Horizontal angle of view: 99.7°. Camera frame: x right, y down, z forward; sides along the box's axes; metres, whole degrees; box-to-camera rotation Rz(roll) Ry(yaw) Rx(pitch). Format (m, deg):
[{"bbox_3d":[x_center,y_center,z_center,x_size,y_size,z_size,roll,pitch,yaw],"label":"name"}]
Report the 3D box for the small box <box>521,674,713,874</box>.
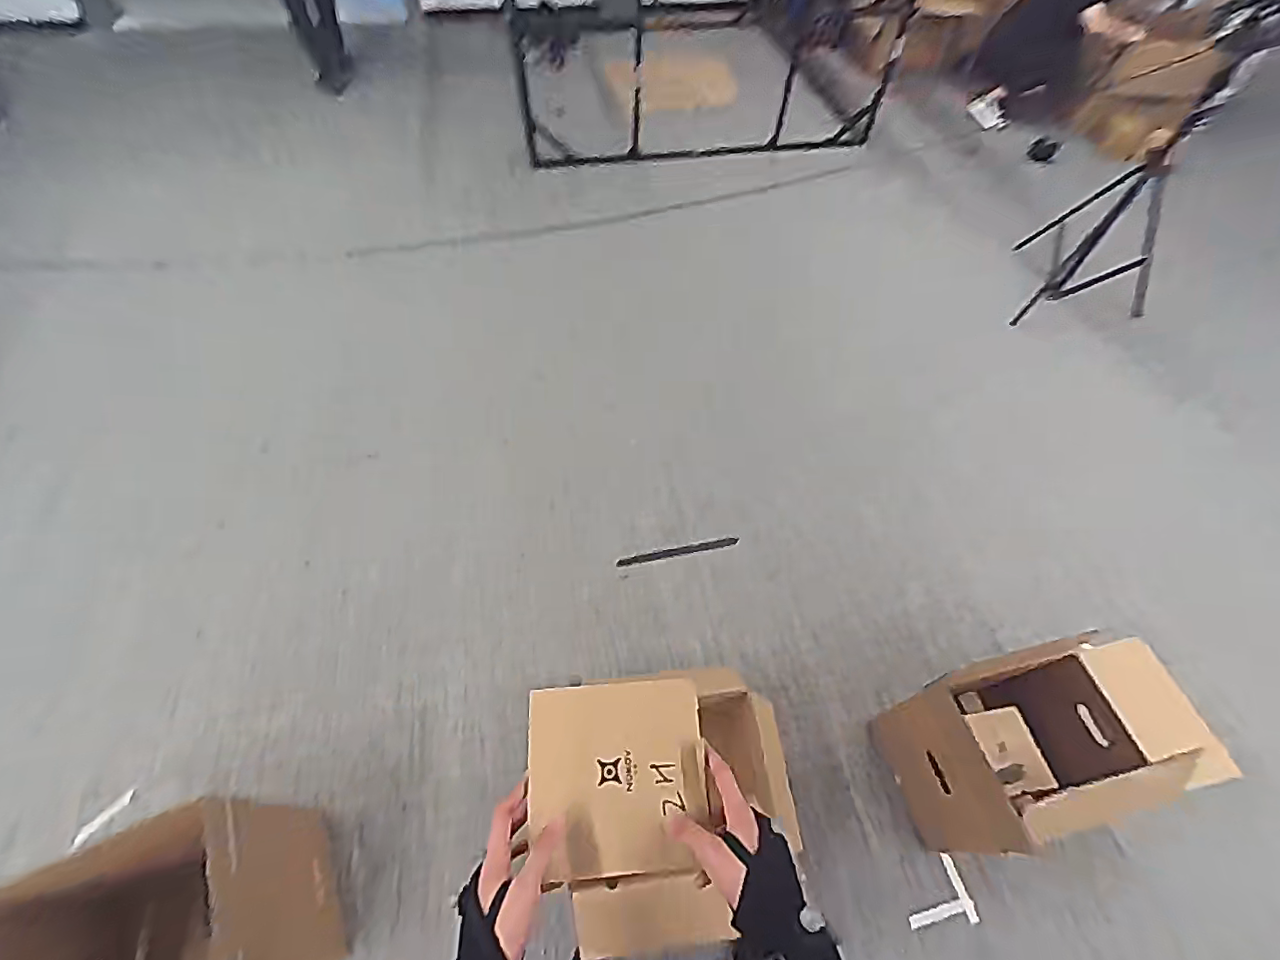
[{"bbox_3d":[-0.028,0.314,0.590,0.179,0.176,0.168,-1,62,-5],"label":"small box"}]
